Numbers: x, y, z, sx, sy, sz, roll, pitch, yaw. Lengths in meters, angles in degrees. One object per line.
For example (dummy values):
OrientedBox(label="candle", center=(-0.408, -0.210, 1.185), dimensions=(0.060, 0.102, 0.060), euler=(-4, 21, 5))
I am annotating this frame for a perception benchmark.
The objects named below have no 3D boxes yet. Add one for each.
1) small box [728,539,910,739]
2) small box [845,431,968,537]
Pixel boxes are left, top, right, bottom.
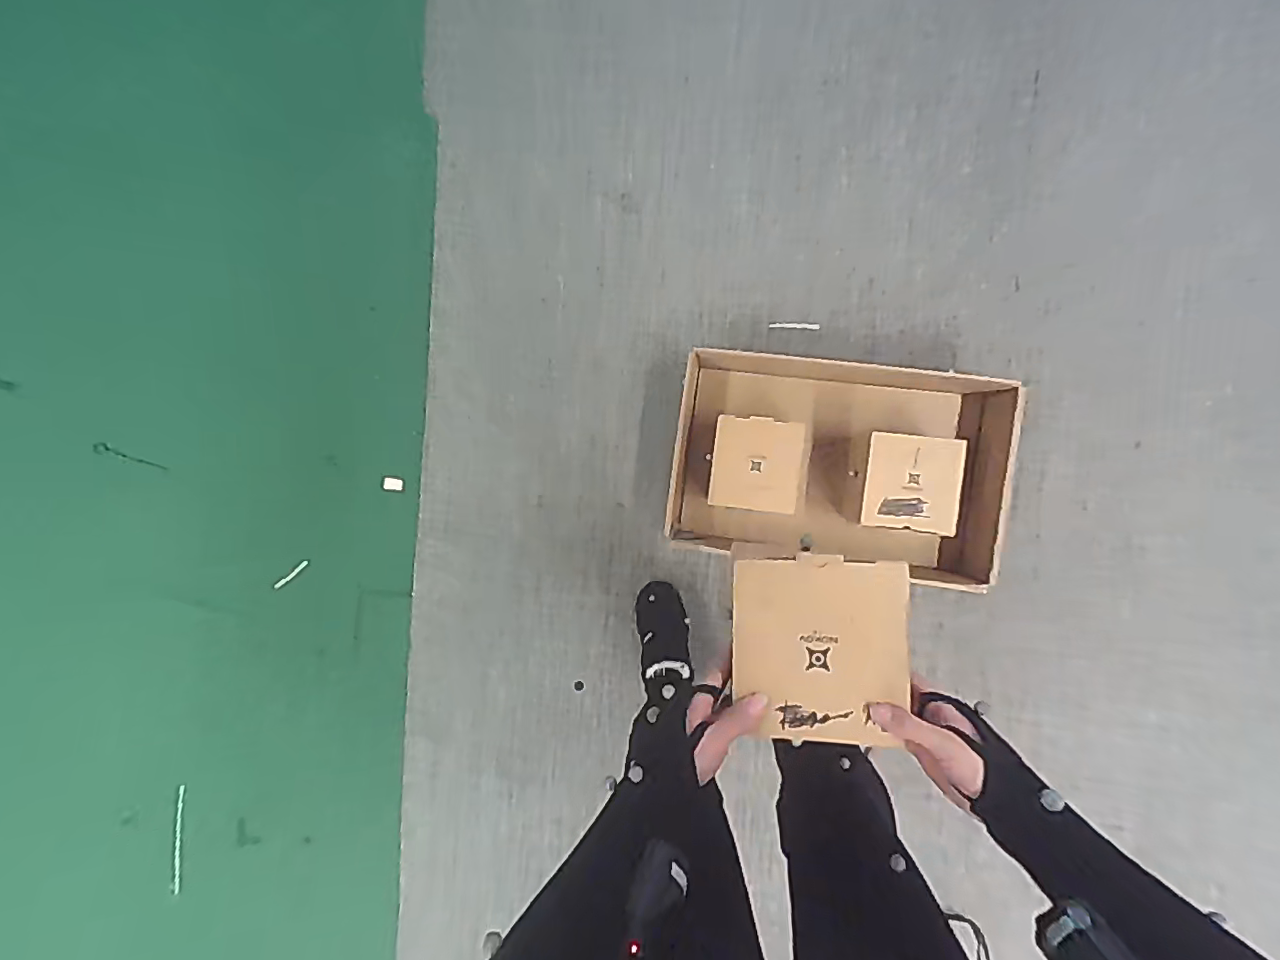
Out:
OrientedBox(label="small box", center=(0.183, 0.157, 0.596), dimensions=(0.168, 0.176, 0.179), euler=(1, 87, 9))
OrientedBox(label="small box", center=(0.505, 0.007, 1.050), dimensions=(0.168, 0.176, 0.179), euler=(7, 90, 9))
